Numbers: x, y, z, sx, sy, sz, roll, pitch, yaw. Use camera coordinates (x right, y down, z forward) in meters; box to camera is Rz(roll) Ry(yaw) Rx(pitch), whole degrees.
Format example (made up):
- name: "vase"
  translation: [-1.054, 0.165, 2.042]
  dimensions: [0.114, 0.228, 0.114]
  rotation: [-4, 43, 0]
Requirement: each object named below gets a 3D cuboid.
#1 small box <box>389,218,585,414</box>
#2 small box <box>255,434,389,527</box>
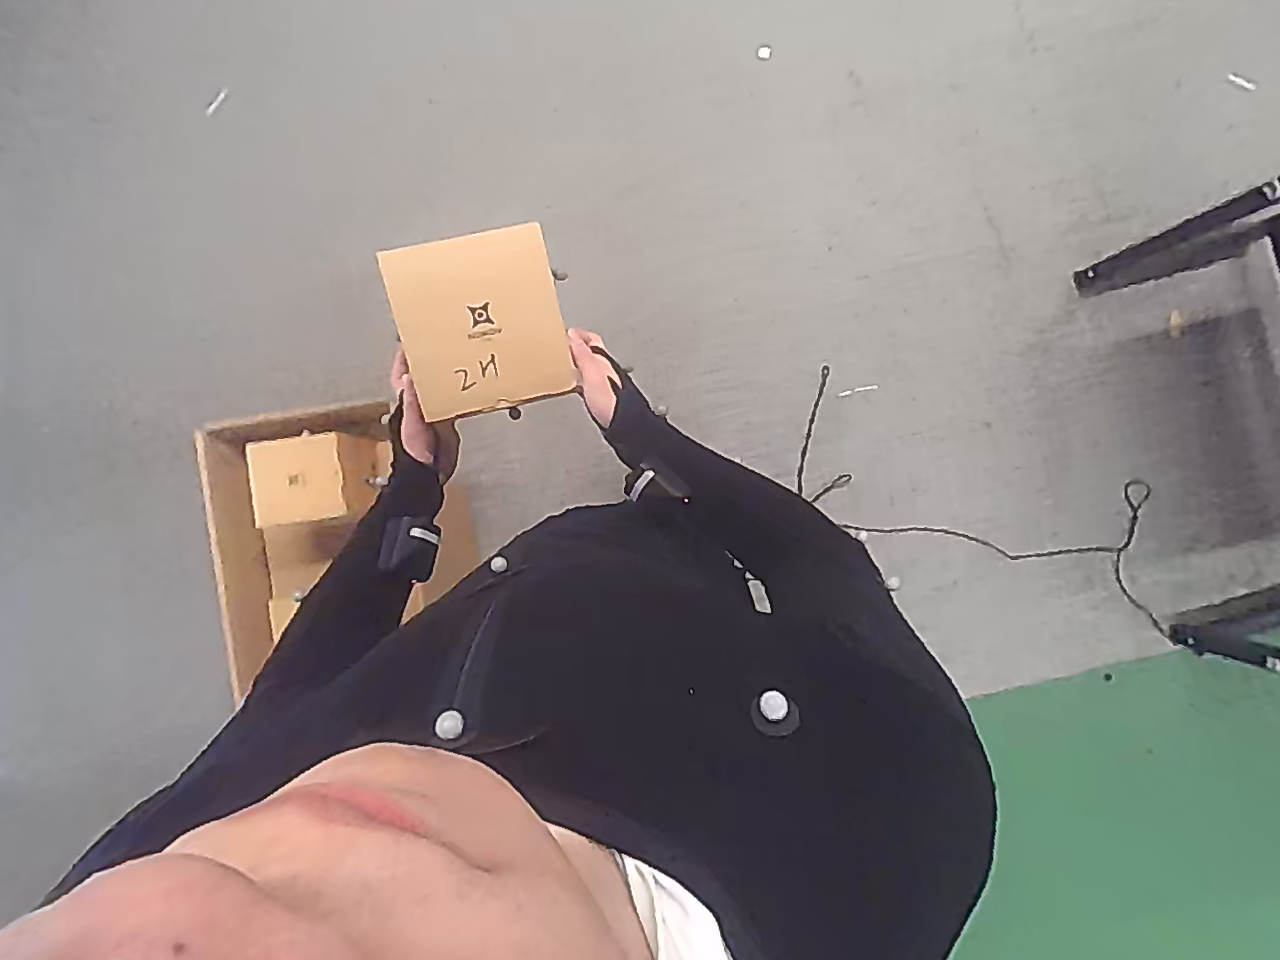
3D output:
- name: "small box"
  translation: [-0.164, -0.177, 0.631]
  dimensions: [0.168, 0.176, 0.179]
  rotation: [-13, 100, -5]
- name: "small box"
  translation: [-0.661, 0.005, 1.140]
  dimensions: [0.179, 0.176, 0.168]
  rotation: [-9, 89, -1]
